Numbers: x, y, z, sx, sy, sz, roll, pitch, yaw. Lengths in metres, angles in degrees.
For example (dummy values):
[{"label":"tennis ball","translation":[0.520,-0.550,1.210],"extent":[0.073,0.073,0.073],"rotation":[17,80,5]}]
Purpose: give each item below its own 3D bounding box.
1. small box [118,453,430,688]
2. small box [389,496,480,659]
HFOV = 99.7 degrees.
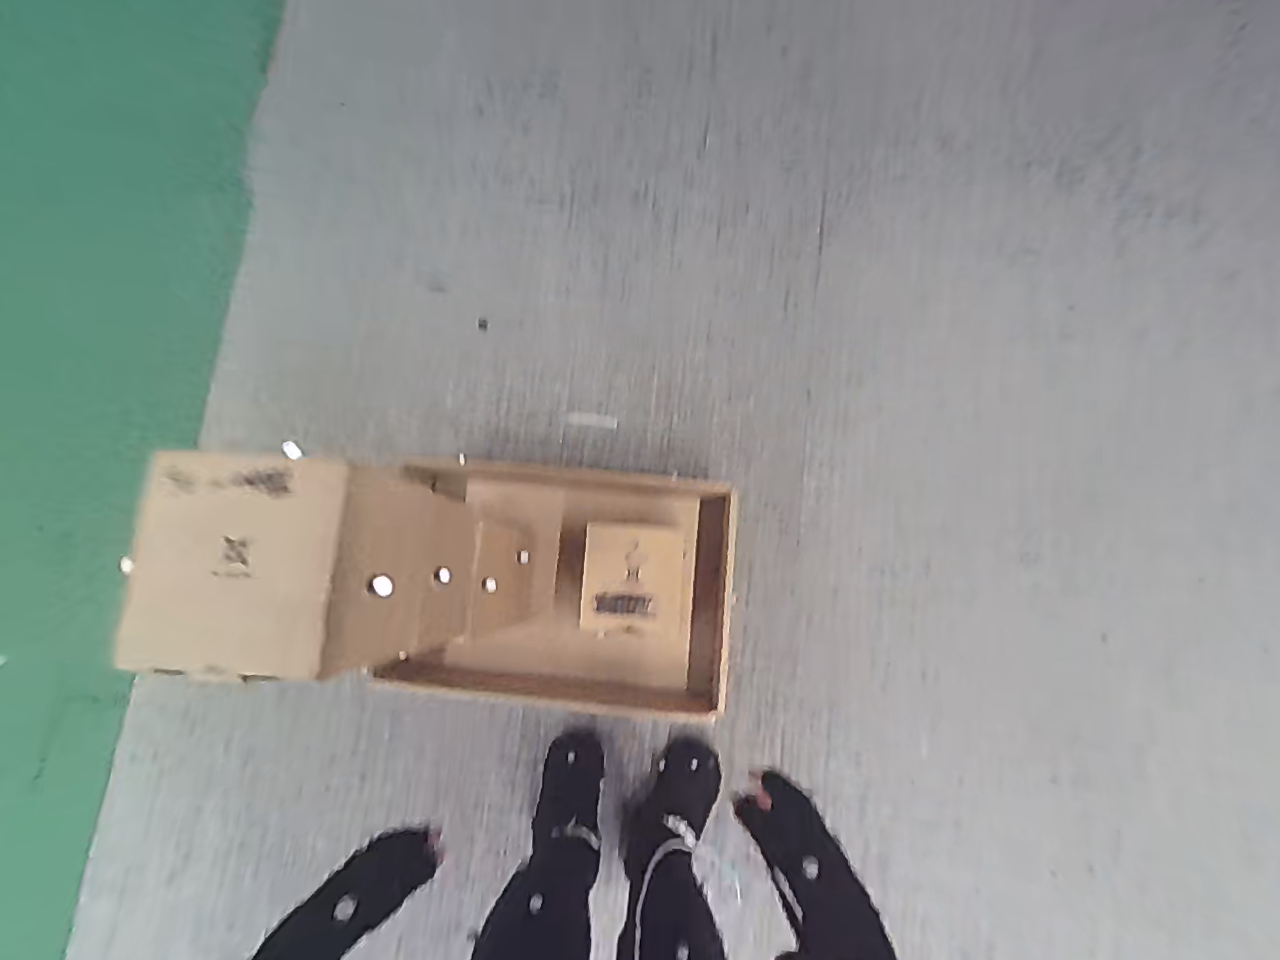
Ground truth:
[{"label":"small box","translation":[-0.314,0.080,0.505],"extent":[0.168,0.176,0.179],"rotation":[3,81,2]},{"label":"small box","translation":[-0.308,0.111,0.665],"extent":[0.168,0.176,0.179],"rotation":[3,80,2]}]
